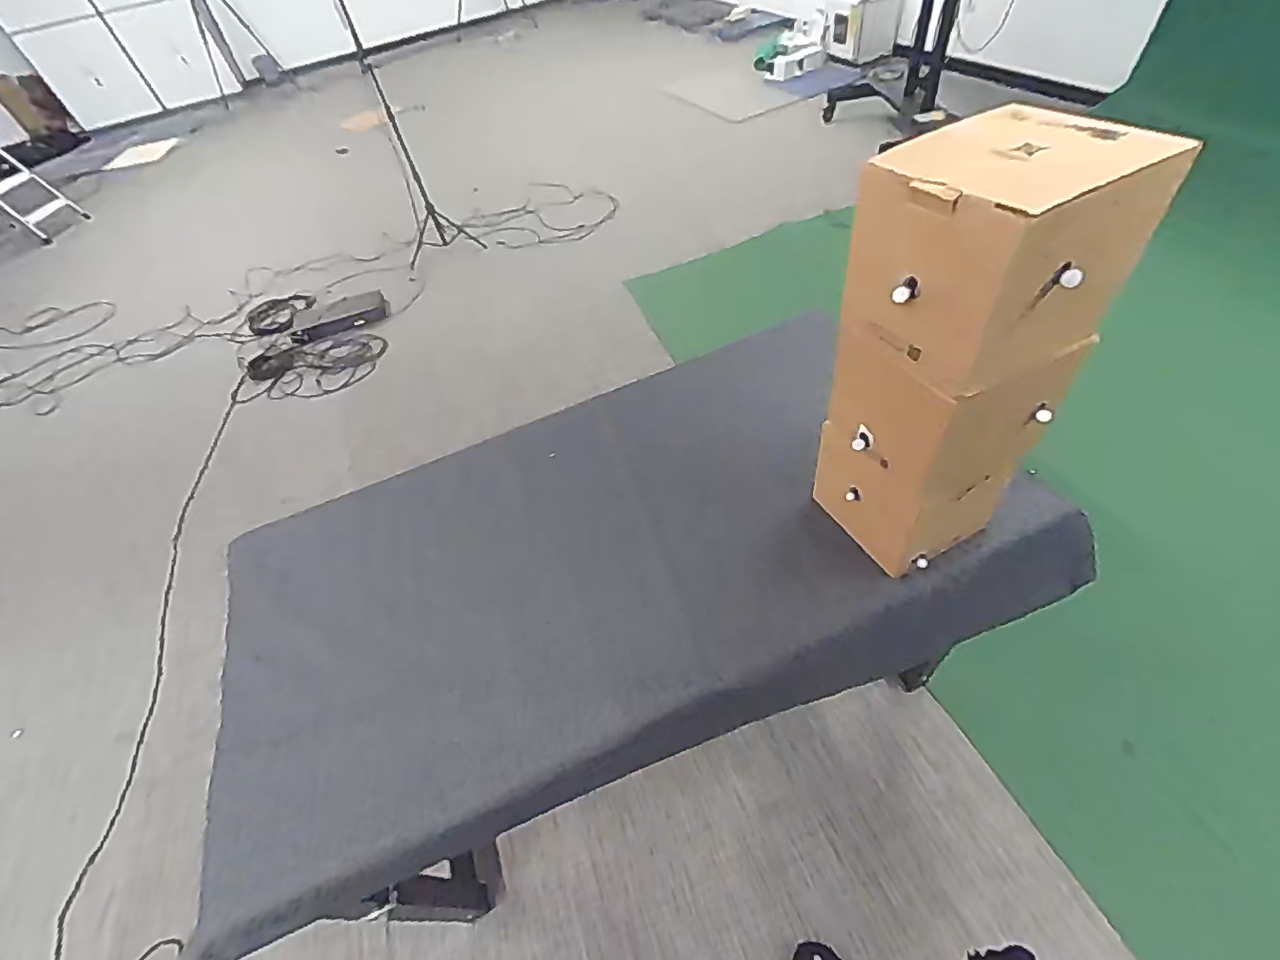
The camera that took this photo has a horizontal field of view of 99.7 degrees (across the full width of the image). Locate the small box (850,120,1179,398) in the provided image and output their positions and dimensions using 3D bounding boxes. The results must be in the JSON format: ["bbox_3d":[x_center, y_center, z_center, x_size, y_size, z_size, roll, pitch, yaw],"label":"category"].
[{"bbox_3d":[0.321,-0.206,0.511,0.179,0.176,0.168,-25,49,-10],"label":"small box"}]

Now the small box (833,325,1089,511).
[{"bbox_3d":[0.349,-0.096,0.630,0.179,0.176,0.168,-25,48,-9],"label":"small box"}]

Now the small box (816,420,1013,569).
[{"bbox_3d":[0.370,0.001,0.757,0.168,0.176,0.179,-26,49,-11],"label":"small box"}]
